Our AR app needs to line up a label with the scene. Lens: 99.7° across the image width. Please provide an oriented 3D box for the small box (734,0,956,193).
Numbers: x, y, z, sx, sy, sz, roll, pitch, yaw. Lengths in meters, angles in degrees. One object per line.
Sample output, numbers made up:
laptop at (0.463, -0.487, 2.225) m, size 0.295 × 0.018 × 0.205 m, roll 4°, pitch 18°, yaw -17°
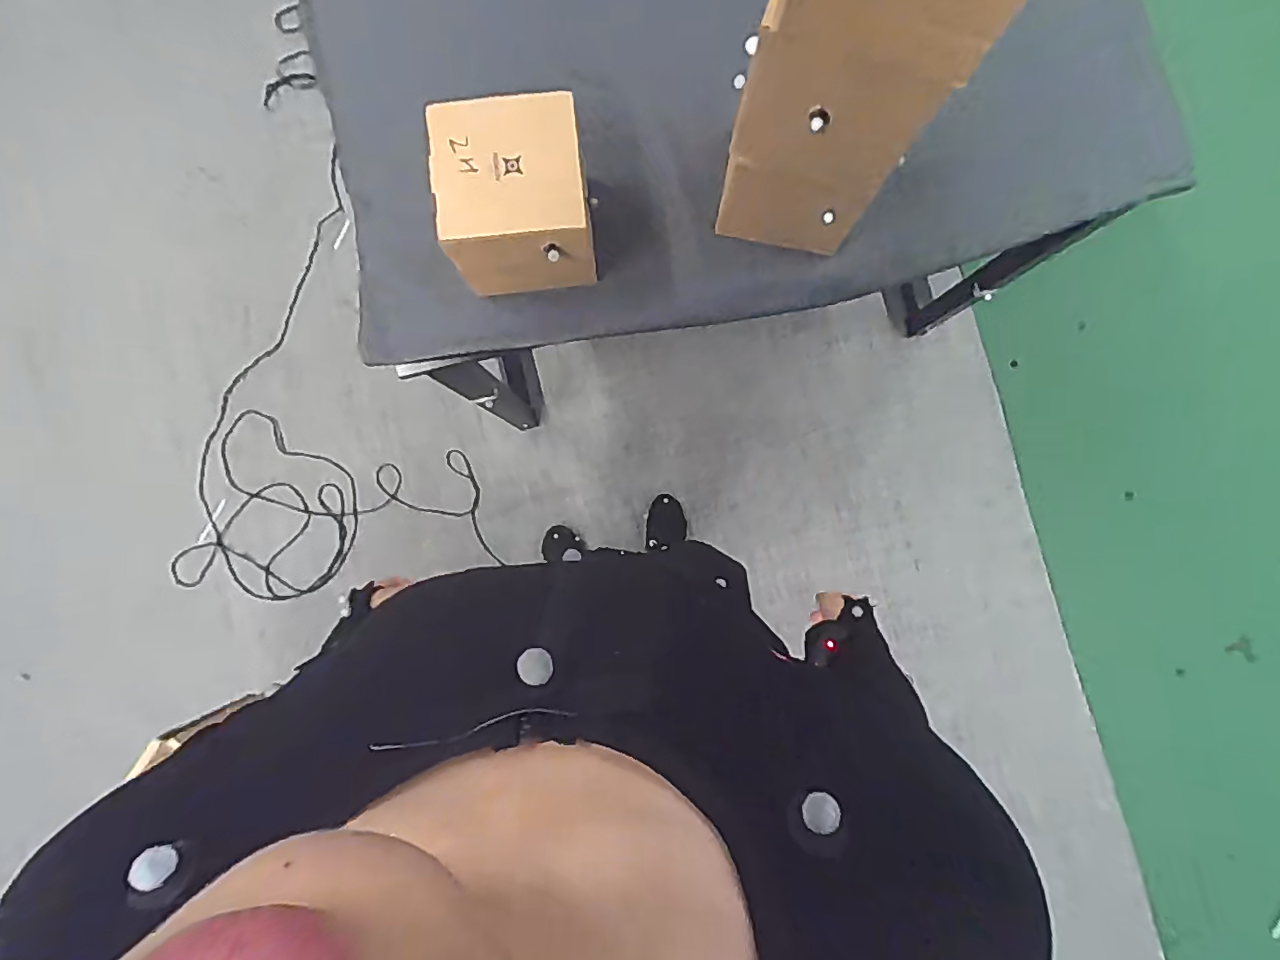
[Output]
small box at (0.211, -0.427, 0.546) m, size 0.179 × 0.176 × 0.168 m, roll 19°, pitch 87°, yaw 2°

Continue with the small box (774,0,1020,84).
small box at (0.213, -0.434, 0.384) m, size 0.179 × 0.176 × 0.168 m, roll 19°, pitch 87°, yaw 1°

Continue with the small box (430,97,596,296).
small box at (-0.152, -0.357, 0.709) m, size 0.179 × 0.176 × 0.168 m, roll -6°, pitch 88°, yaw 0°
